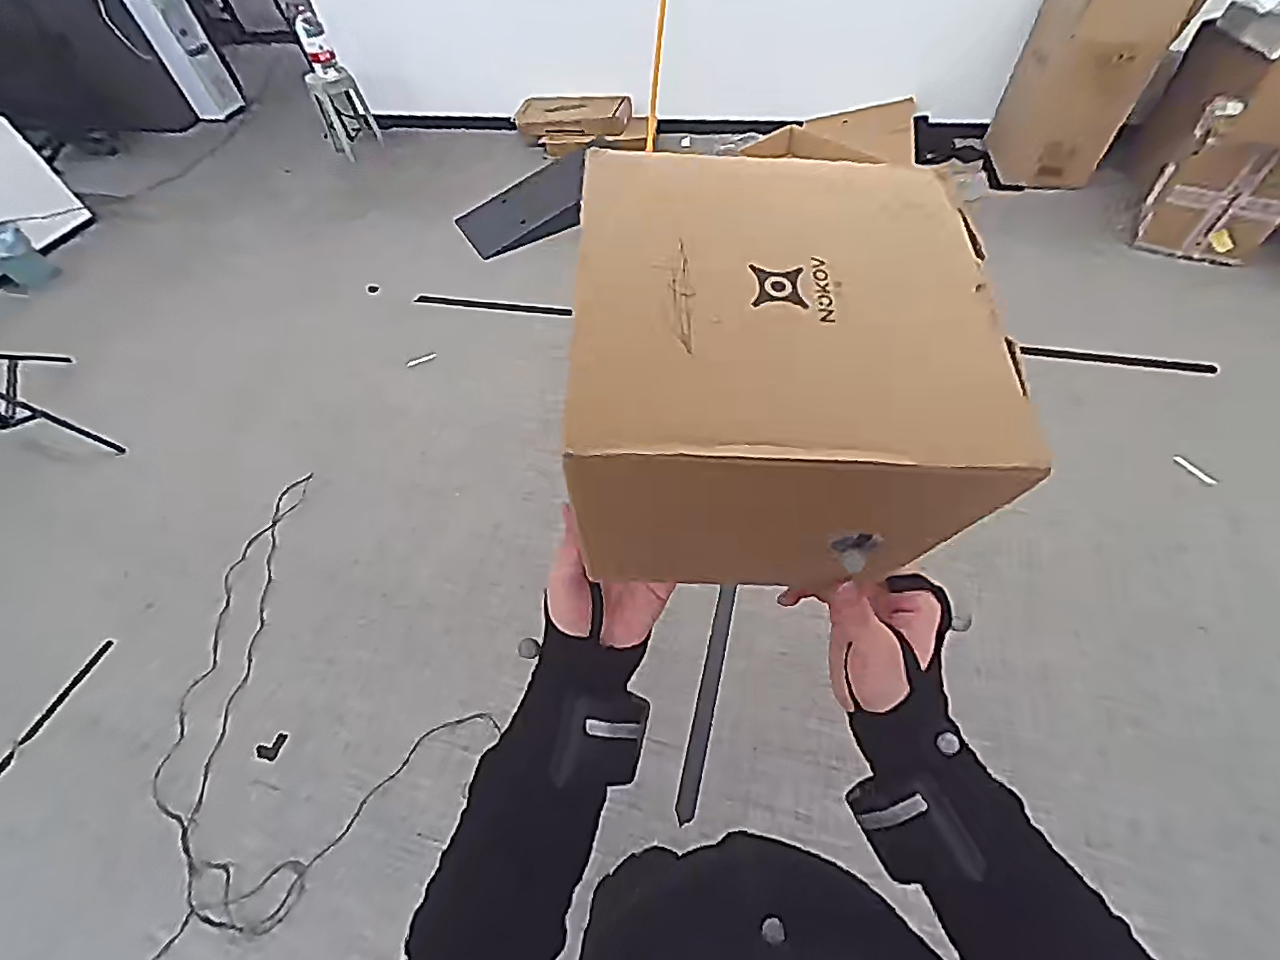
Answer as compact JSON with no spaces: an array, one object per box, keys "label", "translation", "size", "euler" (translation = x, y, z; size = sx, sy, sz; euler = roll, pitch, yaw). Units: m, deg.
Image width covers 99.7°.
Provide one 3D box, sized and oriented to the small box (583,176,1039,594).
[{"label":"small box","translation":[0.061,-0.037,0.305],"size":[0.179,0.176,0.168],"euler":[0,63,-2]}]
